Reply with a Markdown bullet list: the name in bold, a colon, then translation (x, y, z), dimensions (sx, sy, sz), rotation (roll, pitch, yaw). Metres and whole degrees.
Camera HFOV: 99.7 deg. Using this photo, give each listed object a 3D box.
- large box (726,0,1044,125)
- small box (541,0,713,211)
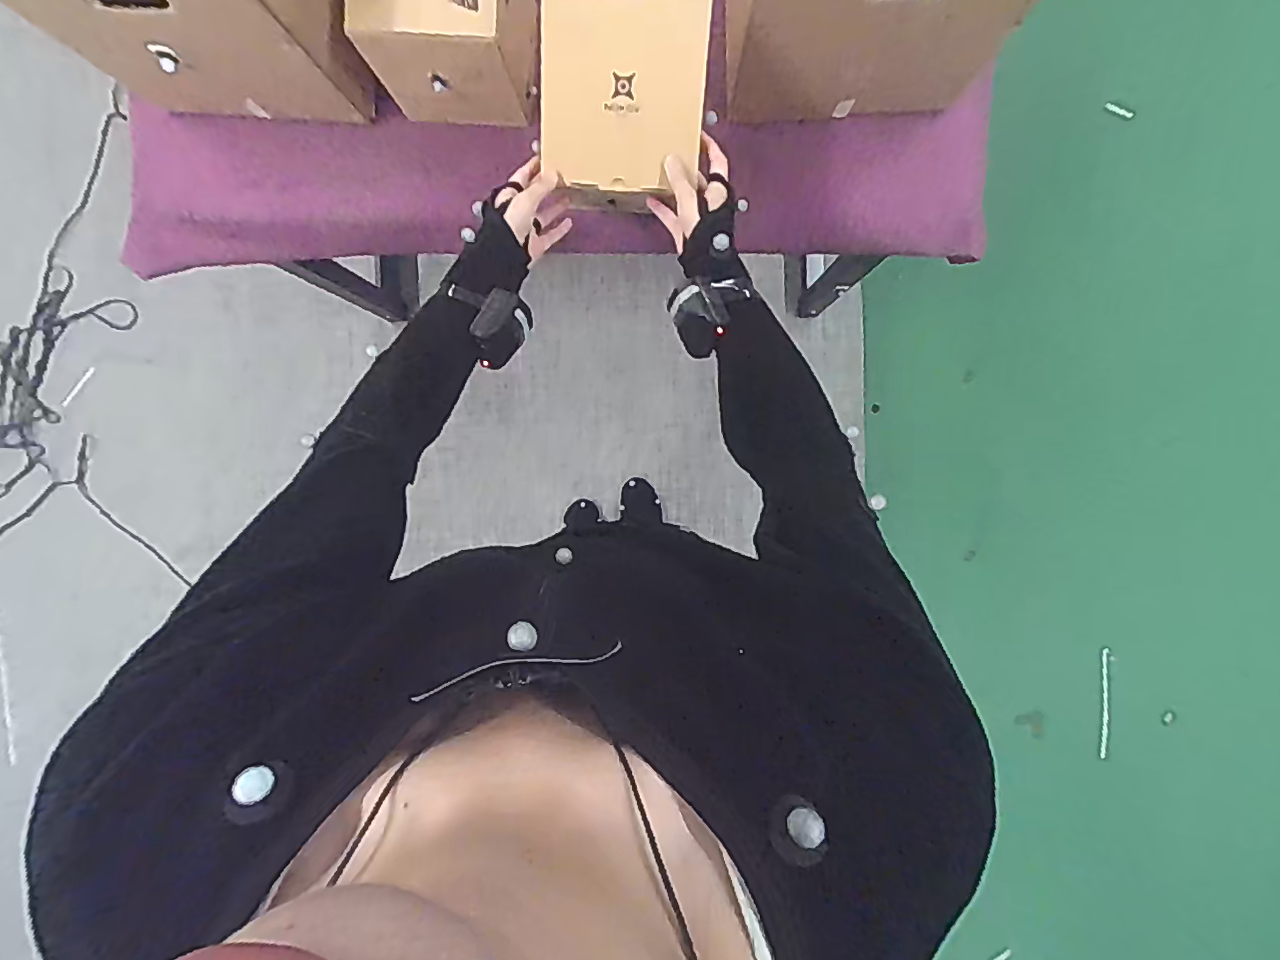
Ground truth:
- **large box**: translation (0.265, -0.692, 0.598), dimensions (0.320, 0.320, 0.408), rotation (-1, 93, 3)
- **small box**: translation (-0.018, -0.418, 0.615), dimensions (0.168, 0.176, 0.179), rotation (3, 110, -1)
